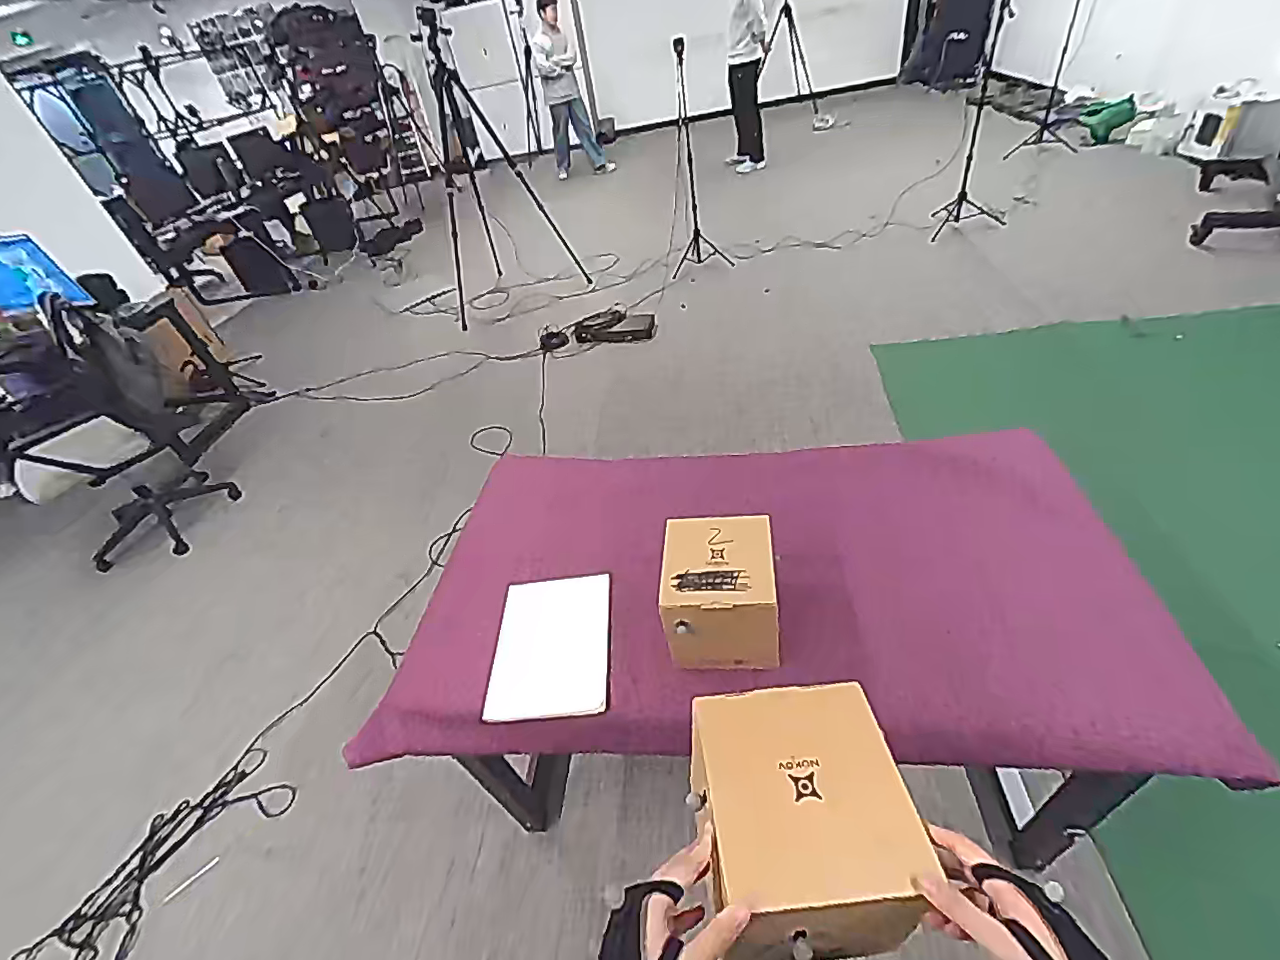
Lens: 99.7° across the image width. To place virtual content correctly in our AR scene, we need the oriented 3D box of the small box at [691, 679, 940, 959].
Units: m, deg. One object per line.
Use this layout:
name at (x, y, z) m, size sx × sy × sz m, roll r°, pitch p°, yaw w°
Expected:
small box at (0.141, 0.318, 0.509) m, size 0.168 × 0.176 × 0.179 m, roll -5°, pitch 35°, yaw -2°
